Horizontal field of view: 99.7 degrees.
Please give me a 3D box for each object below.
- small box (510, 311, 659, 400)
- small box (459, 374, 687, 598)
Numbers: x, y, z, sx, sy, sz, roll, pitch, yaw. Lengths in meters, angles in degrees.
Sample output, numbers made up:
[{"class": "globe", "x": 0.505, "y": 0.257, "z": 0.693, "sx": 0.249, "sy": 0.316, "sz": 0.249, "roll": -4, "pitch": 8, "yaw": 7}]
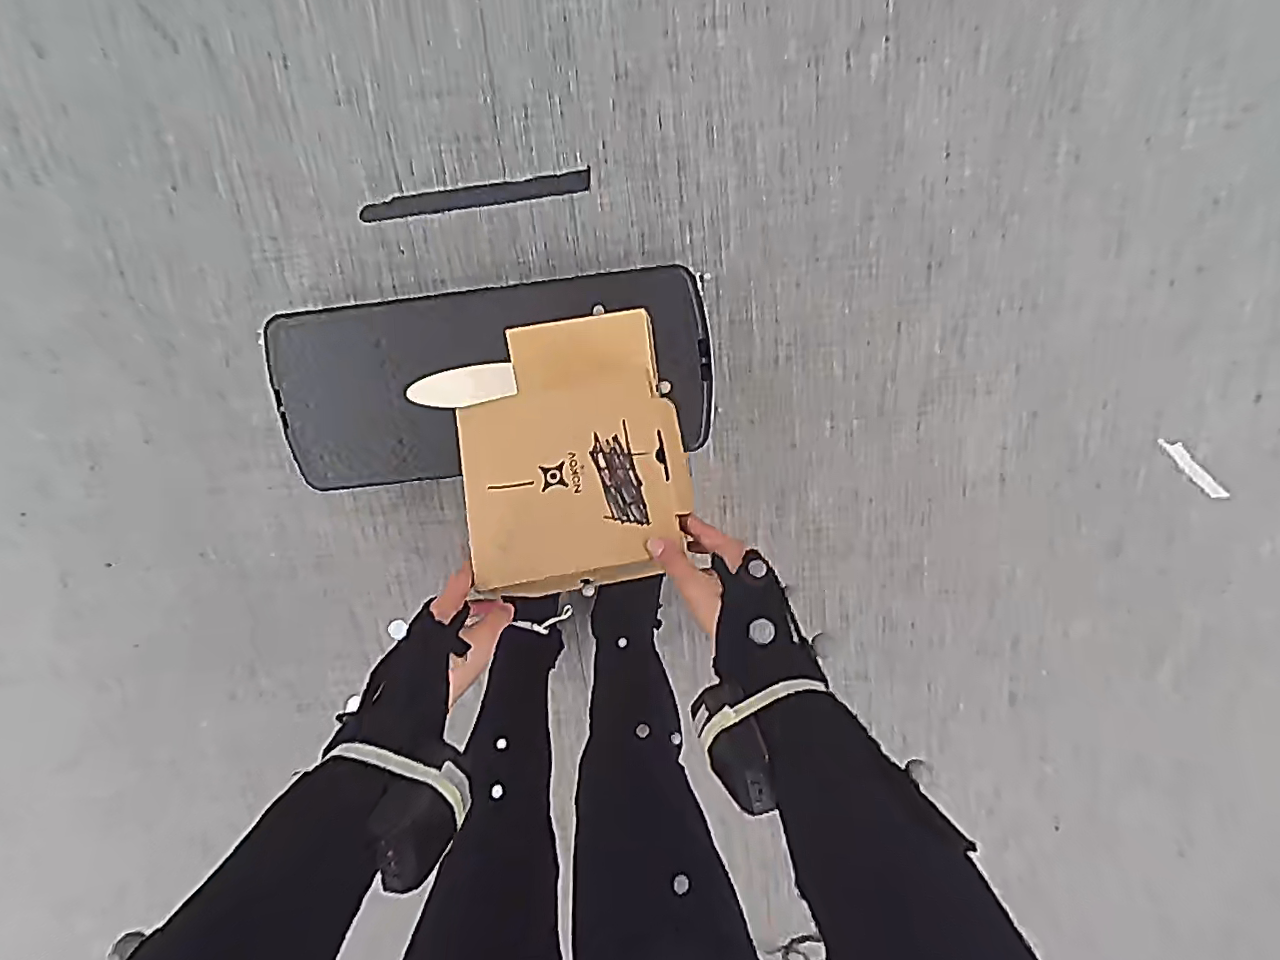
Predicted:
[{"class": "small box", "x": -0.060, "y": -0.120, "z": 0.720, "sx": 0.168, "sy": 0.176, "sz": 0.179, "roll": -8, "pitch": 105, "yaw": 3}, {"class": "small box", "x": -0.053, "y": 0.019, "z": 0.528, "sx": 0.179, "sy": 0.176, "sz": 0.168, "roll": -11, "pitch": 75, "yaw": 4}]
